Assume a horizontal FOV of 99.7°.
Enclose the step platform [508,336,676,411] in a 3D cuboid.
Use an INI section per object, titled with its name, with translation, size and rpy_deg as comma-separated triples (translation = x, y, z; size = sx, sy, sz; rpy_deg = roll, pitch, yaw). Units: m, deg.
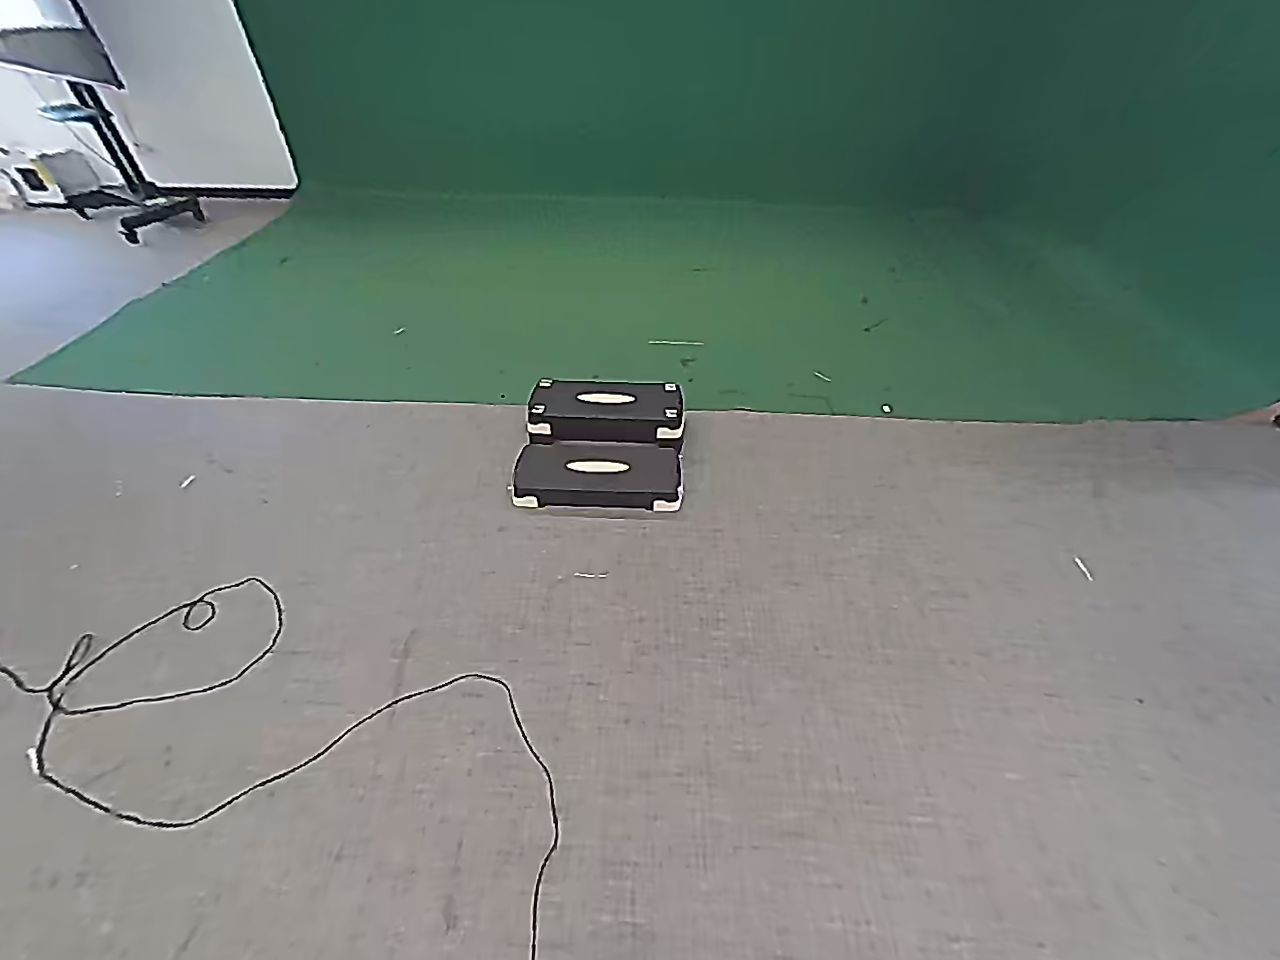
[step platform]
translation = -0.191, -0.447, 2.277
size = 0.684, 0.204, 0.286
rpy_deg = 1, 43, 1
